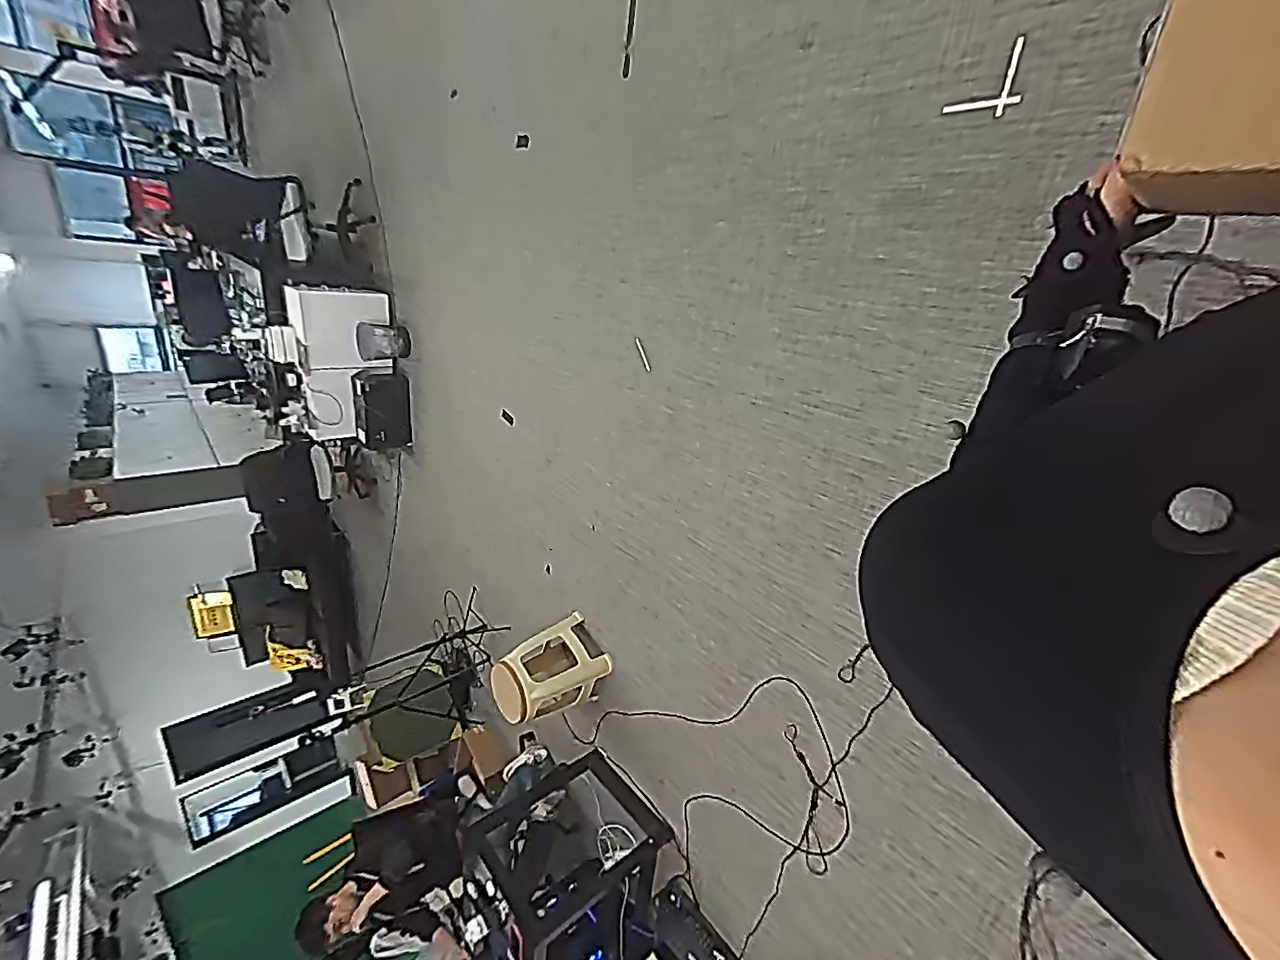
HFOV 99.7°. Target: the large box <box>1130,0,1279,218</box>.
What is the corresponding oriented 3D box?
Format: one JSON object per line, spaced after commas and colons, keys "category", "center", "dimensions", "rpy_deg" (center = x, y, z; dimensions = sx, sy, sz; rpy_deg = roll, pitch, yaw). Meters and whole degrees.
{"category": "large box", "center": [0.474, -0.269, 0.179], "dimensions": [0.408, 0.320, 0.320], "rpy_deg": [22, 121, 36]}
